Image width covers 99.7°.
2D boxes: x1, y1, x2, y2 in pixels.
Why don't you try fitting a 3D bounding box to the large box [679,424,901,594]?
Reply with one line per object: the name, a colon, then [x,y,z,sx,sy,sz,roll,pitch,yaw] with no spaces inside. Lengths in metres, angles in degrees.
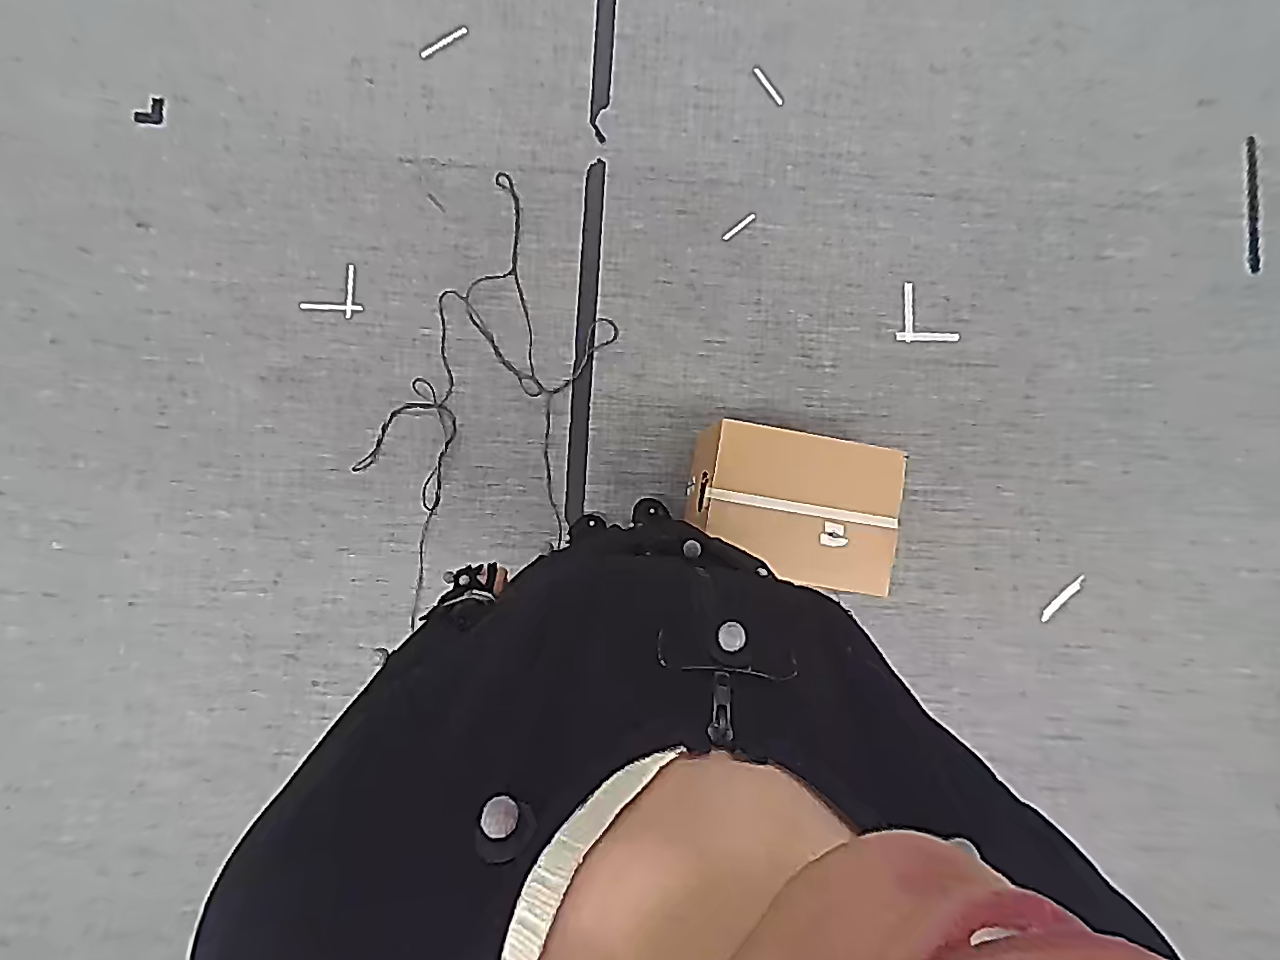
large box: [0.325,0.069,1.272,0.408,0.320,0.320,9,88,-4]
